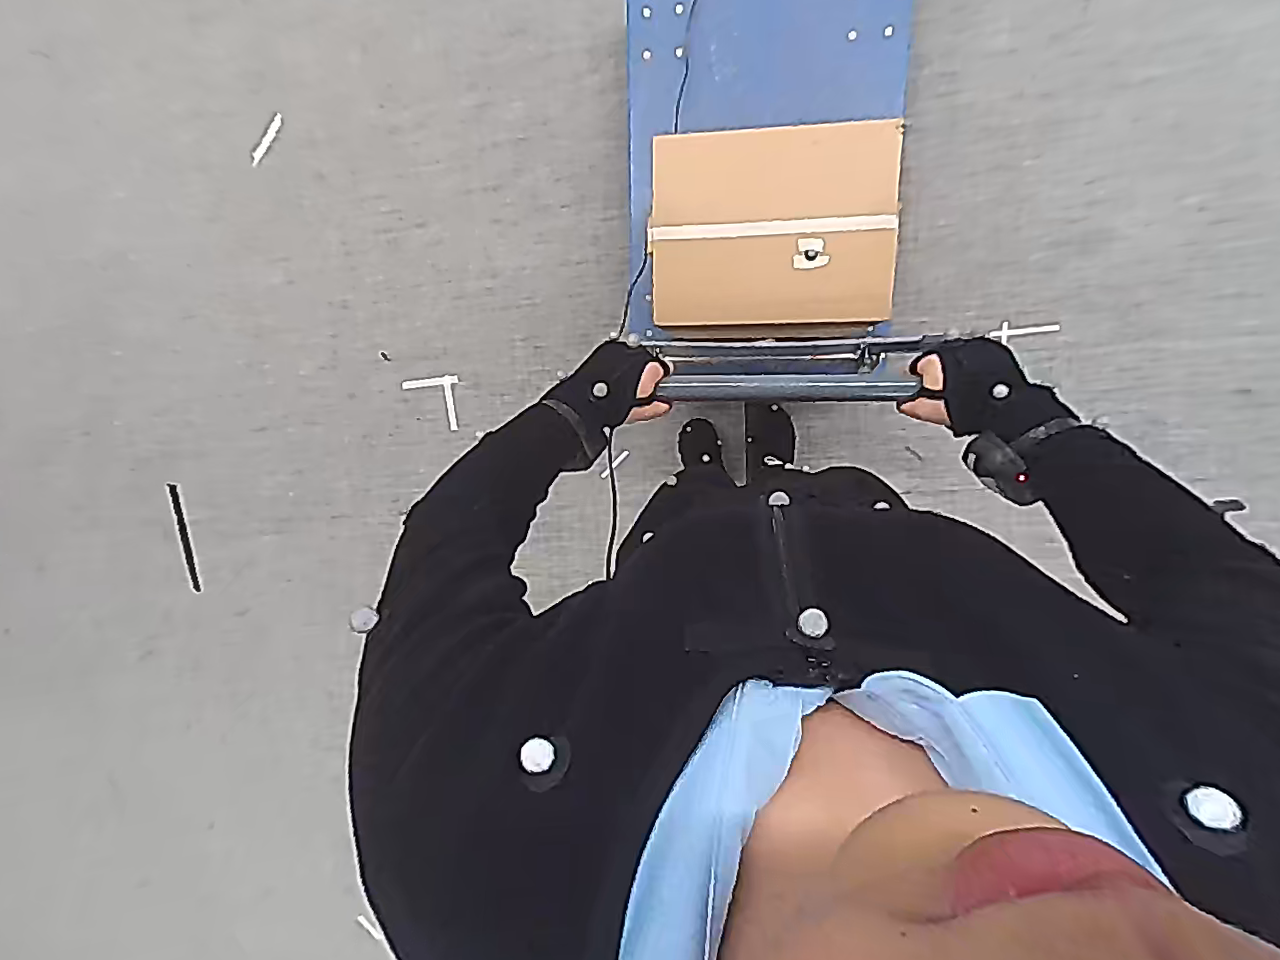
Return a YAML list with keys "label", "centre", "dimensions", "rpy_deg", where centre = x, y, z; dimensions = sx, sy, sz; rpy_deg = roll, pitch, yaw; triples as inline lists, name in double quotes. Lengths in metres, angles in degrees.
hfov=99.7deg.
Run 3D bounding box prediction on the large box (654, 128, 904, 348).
- label: "large box"
  centre: [0.240, -0.430, 1.048]
  dimensions: [0.408, 0.320, 0.320]
  rpy_deg: [1, 101, 7]
